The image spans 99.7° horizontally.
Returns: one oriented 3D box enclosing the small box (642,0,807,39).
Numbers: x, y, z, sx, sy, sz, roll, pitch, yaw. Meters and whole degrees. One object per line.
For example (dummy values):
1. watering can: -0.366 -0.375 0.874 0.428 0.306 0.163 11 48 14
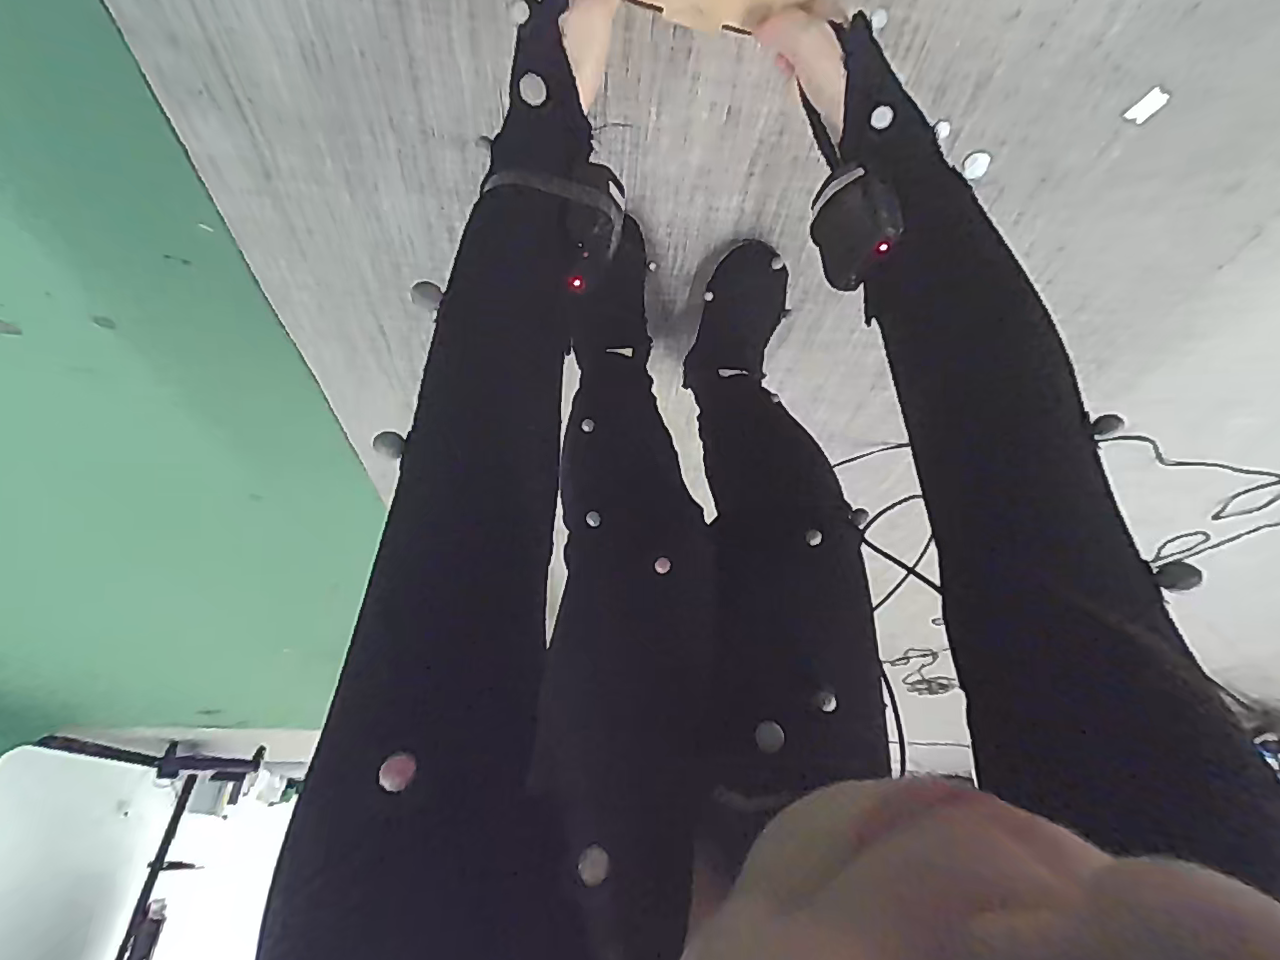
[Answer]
1. small box: 0.054 -0.449 0.363 0.168 0.176 0.179 7 144 -9
